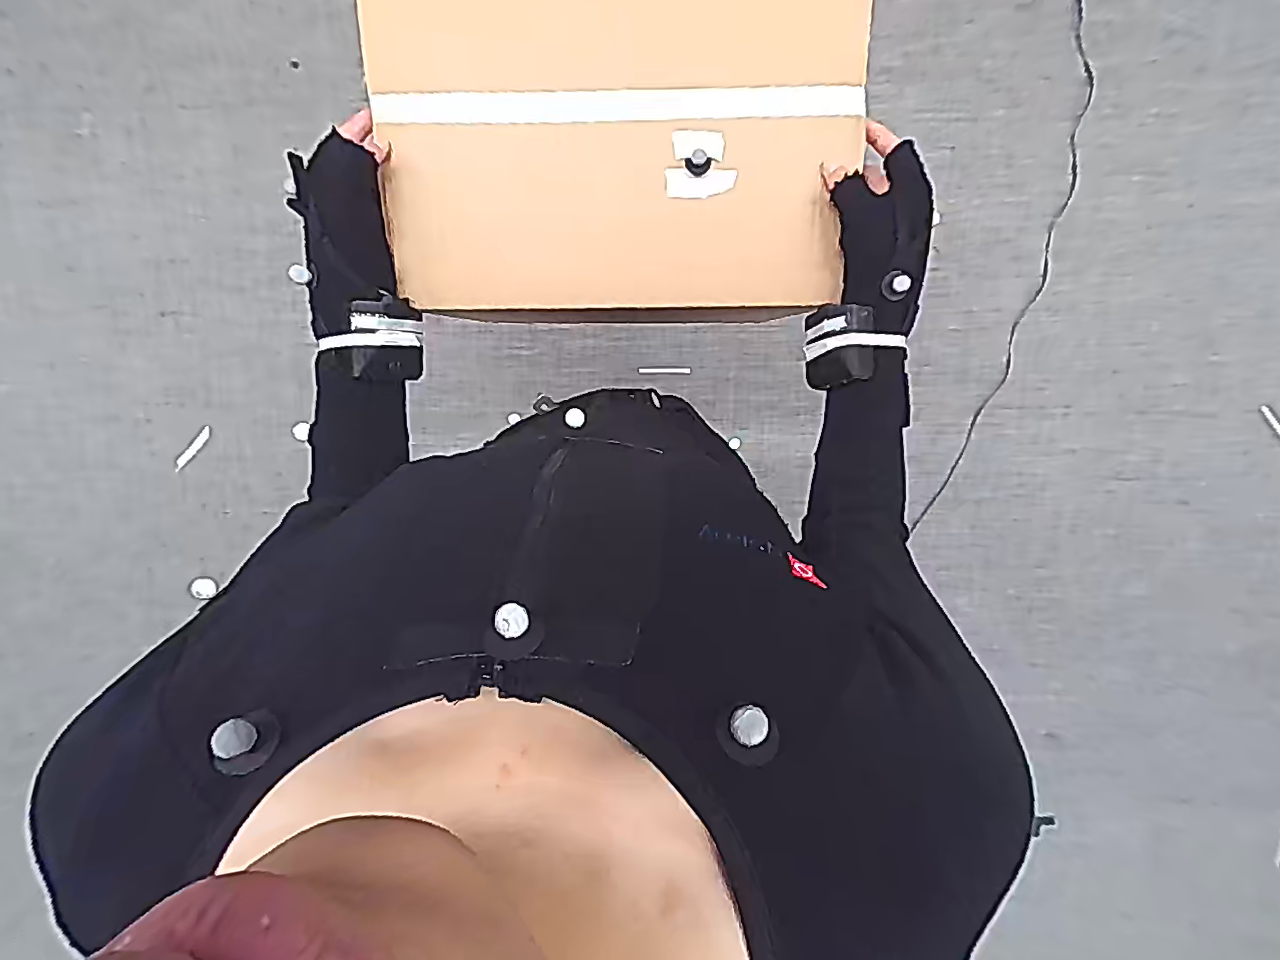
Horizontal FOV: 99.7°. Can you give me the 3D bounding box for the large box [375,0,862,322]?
[{"bbox_3d":[-0.018,-0.349,0.601,0.408,0.320,0.320,0,104,0],"label":"large box"}]
